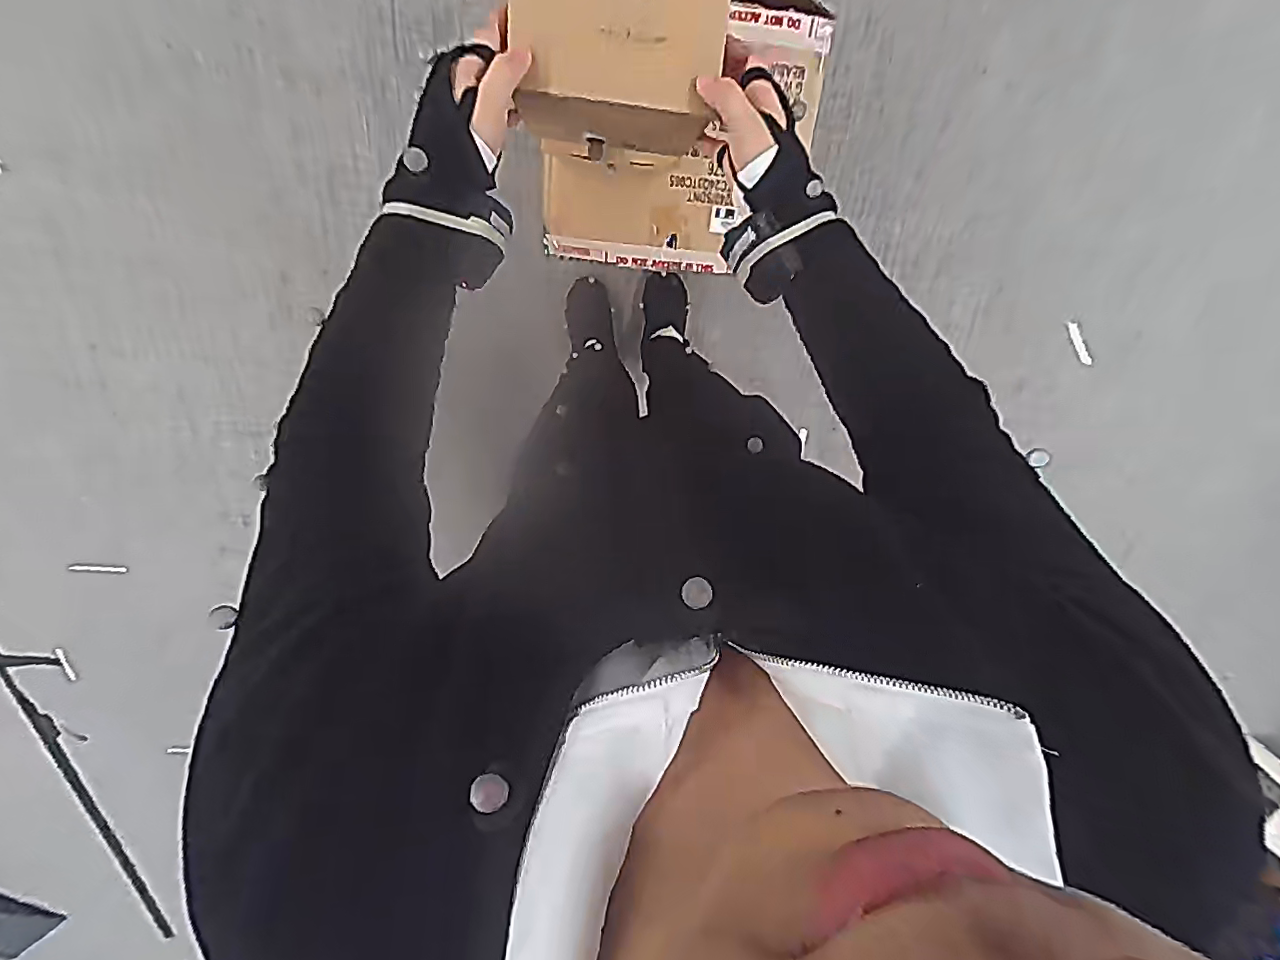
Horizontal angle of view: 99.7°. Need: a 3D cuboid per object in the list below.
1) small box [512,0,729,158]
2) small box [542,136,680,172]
[{"bbox_3d":[-0.019,-0.407,0.477,0.168,0.176,0.179,3,111,-6],"label":"small box"},{"bbox_3d":[-0.028,-0.493,0.671,0.168,0.176,0.179,5,119,-4],"label":"small box"}]
